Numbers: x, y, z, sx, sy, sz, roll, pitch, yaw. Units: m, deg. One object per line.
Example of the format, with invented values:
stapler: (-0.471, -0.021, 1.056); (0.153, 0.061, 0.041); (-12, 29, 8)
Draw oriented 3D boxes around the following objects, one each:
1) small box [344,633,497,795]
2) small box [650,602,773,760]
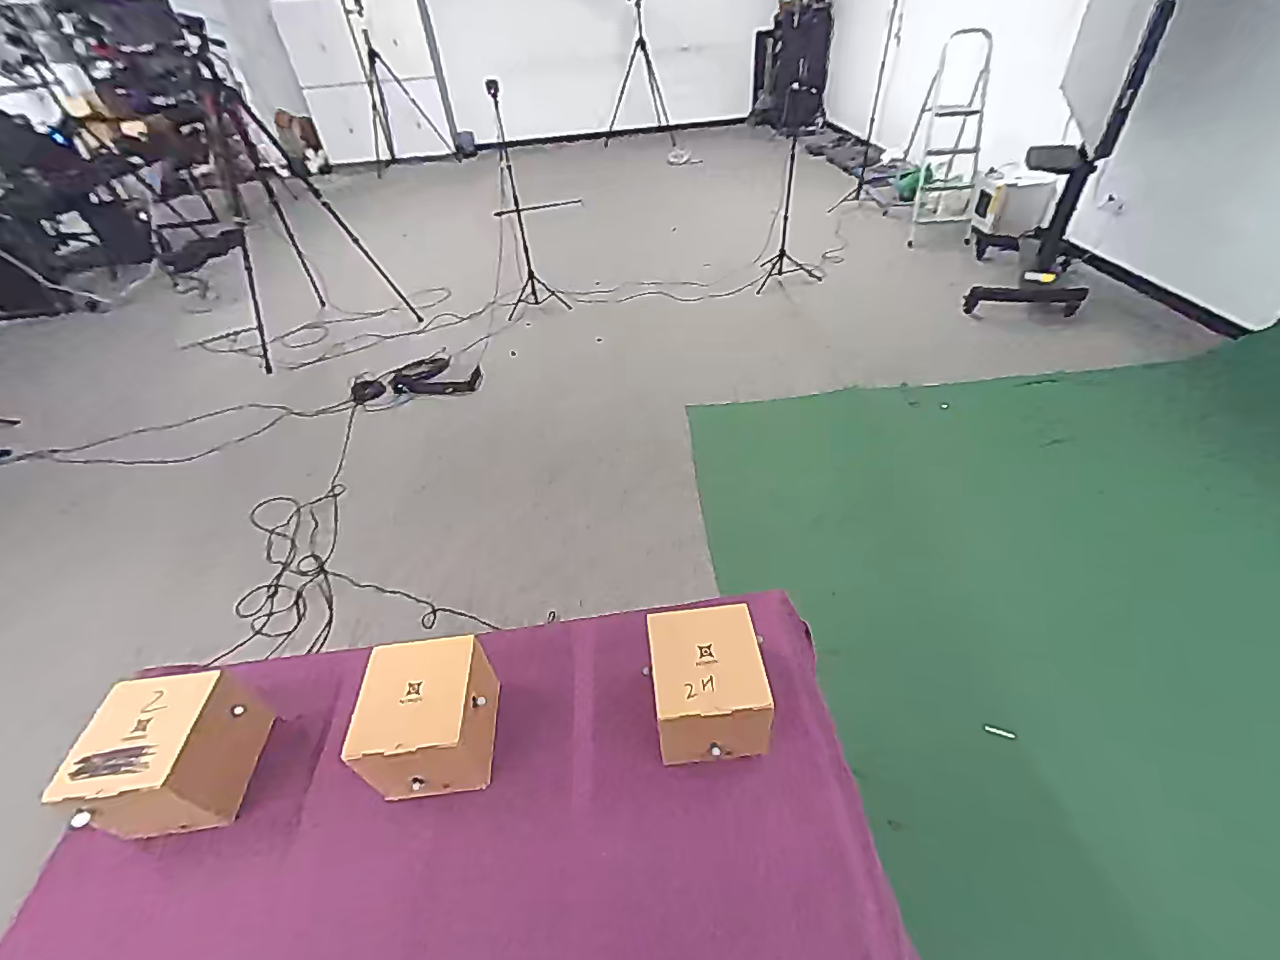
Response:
small box: (-0.332, 0.371, 0.860); (0.168, 0.176, 0.179); (-6, 43, -2)
small box: (0.106, 0.323, 0.869); (0.168, 0.176, 0.179); (-6, 43, 0)
